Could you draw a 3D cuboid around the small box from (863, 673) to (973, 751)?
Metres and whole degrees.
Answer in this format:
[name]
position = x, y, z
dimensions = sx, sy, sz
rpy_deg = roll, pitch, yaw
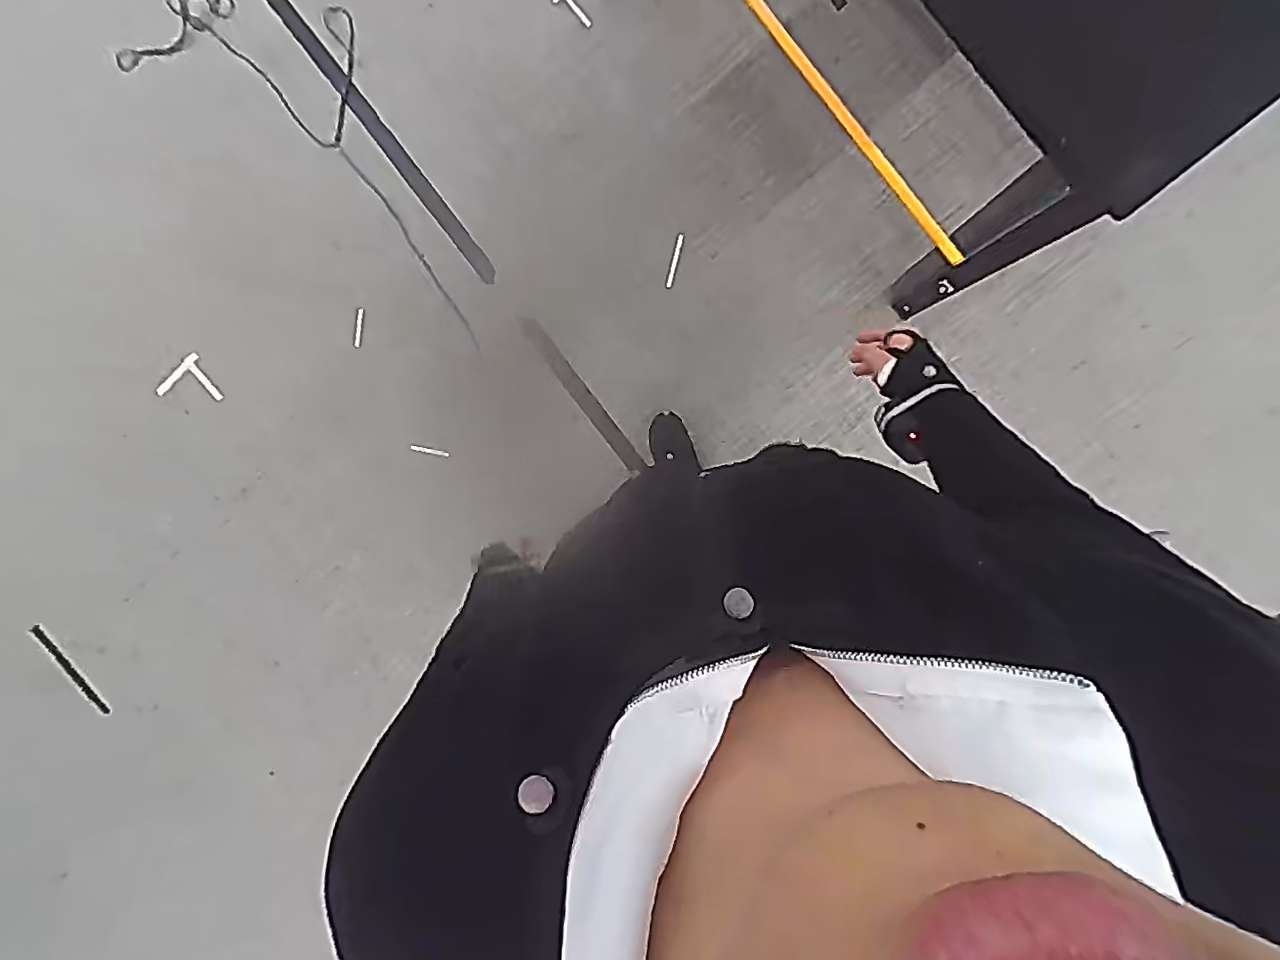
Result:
[small box]
position = 0.712, 0.645, 1.416
dimensions = 0.179, 0.176, 0.168
rpy_deg = -37, 91, 7
